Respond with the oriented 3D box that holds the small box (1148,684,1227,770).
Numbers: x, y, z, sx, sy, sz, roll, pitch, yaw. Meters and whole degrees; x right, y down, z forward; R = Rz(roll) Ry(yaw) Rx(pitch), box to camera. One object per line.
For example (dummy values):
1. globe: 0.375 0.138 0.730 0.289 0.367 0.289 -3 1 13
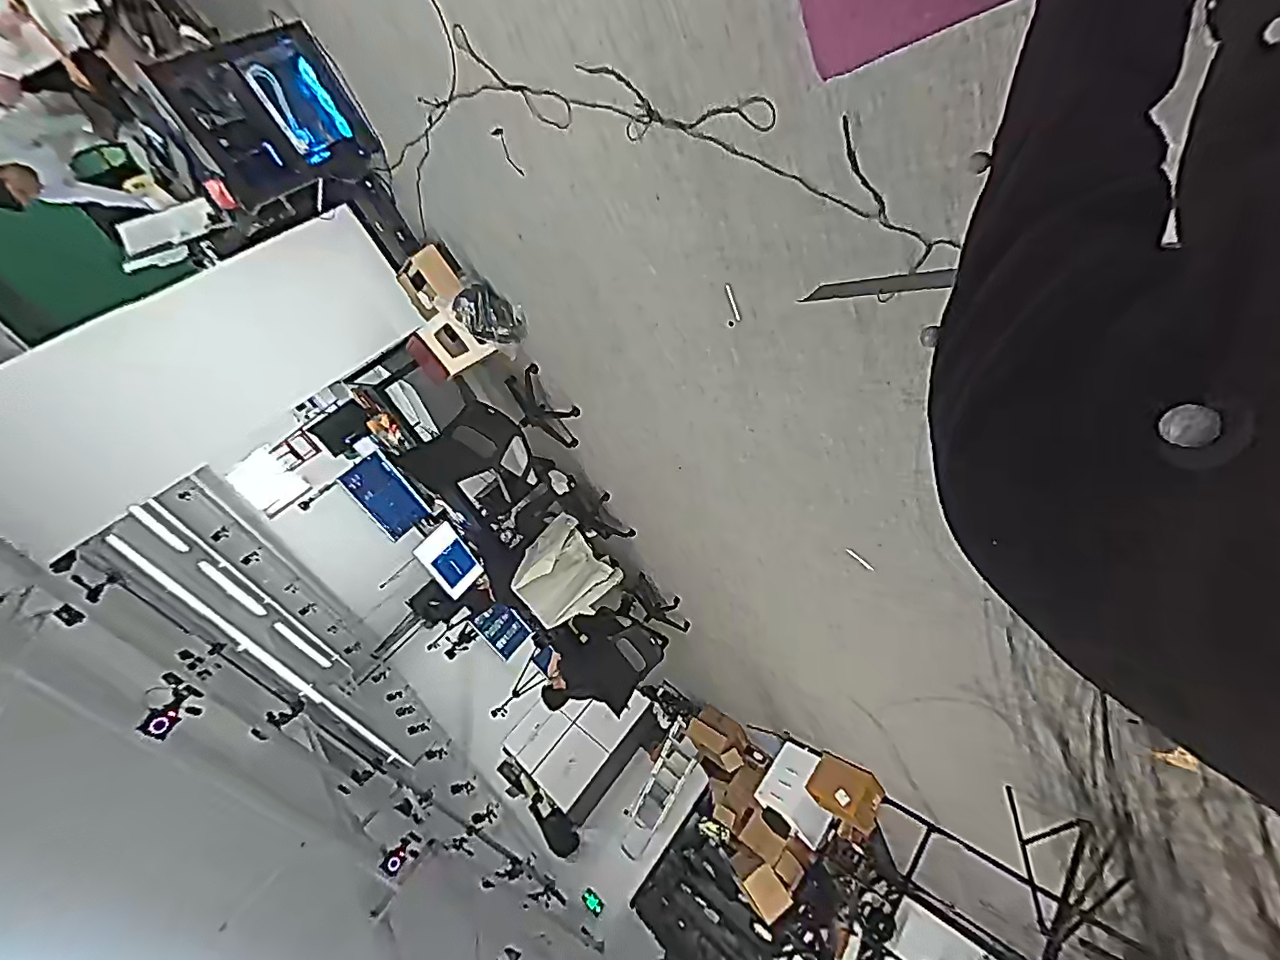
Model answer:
1. small box: 1.833 0.820 1.811 0.168 0.176 0.179 11 141 50
